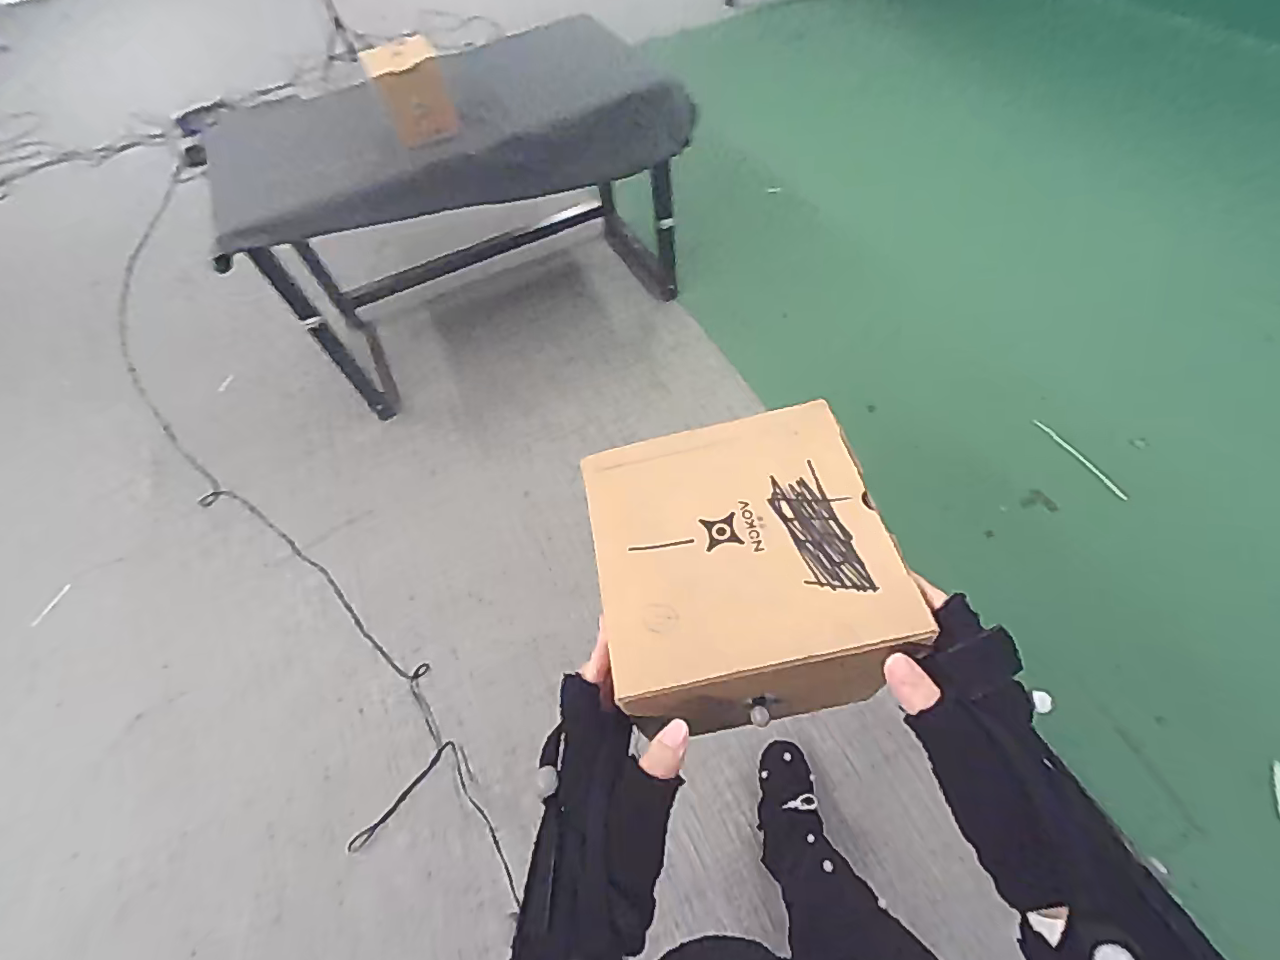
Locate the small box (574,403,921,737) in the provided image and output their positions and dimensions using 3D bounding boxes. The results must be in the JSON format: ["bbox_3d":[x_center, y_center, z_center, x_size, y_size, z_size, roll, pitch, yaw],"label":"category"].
[{"bbox_3d":[0.063,0.075,0.397,0.179,0.176,0.168,-14,56,2],"label":"small box"}]

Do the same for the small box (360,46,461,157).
[{"bbox_3d":[-0.579,-0.956,1.378,0.168,0.176,0.179,-25,58,-8],"label":"small box"}]
